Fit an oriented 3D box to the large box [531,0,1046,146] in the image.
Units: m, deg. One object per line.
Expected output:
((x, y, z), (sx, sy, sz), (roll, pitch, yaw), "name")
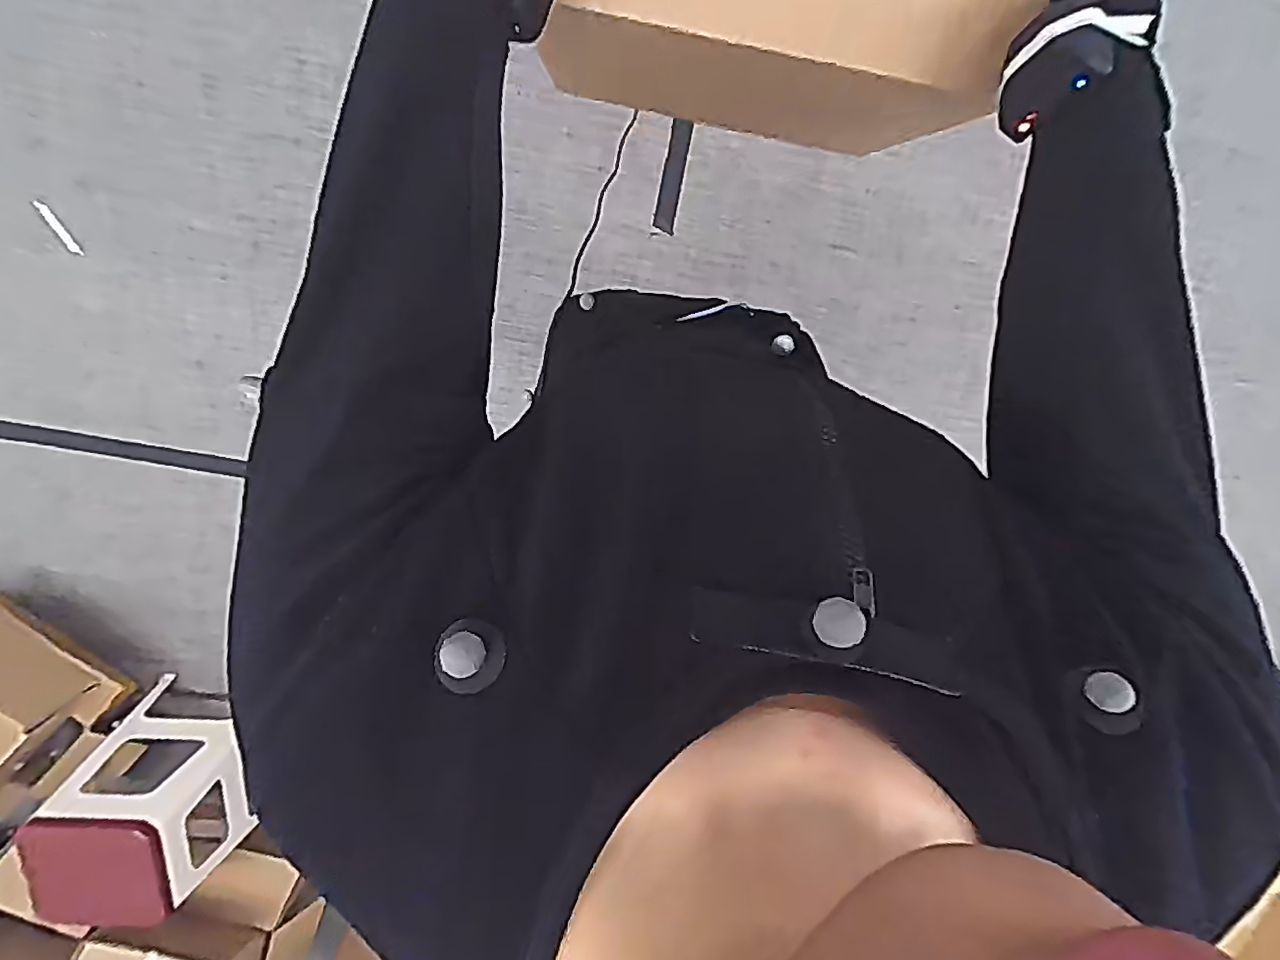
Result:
((0.124, -0.535, 0.495), (0.408, 0.320, 0.320), (8, 116, -6), "large box")
